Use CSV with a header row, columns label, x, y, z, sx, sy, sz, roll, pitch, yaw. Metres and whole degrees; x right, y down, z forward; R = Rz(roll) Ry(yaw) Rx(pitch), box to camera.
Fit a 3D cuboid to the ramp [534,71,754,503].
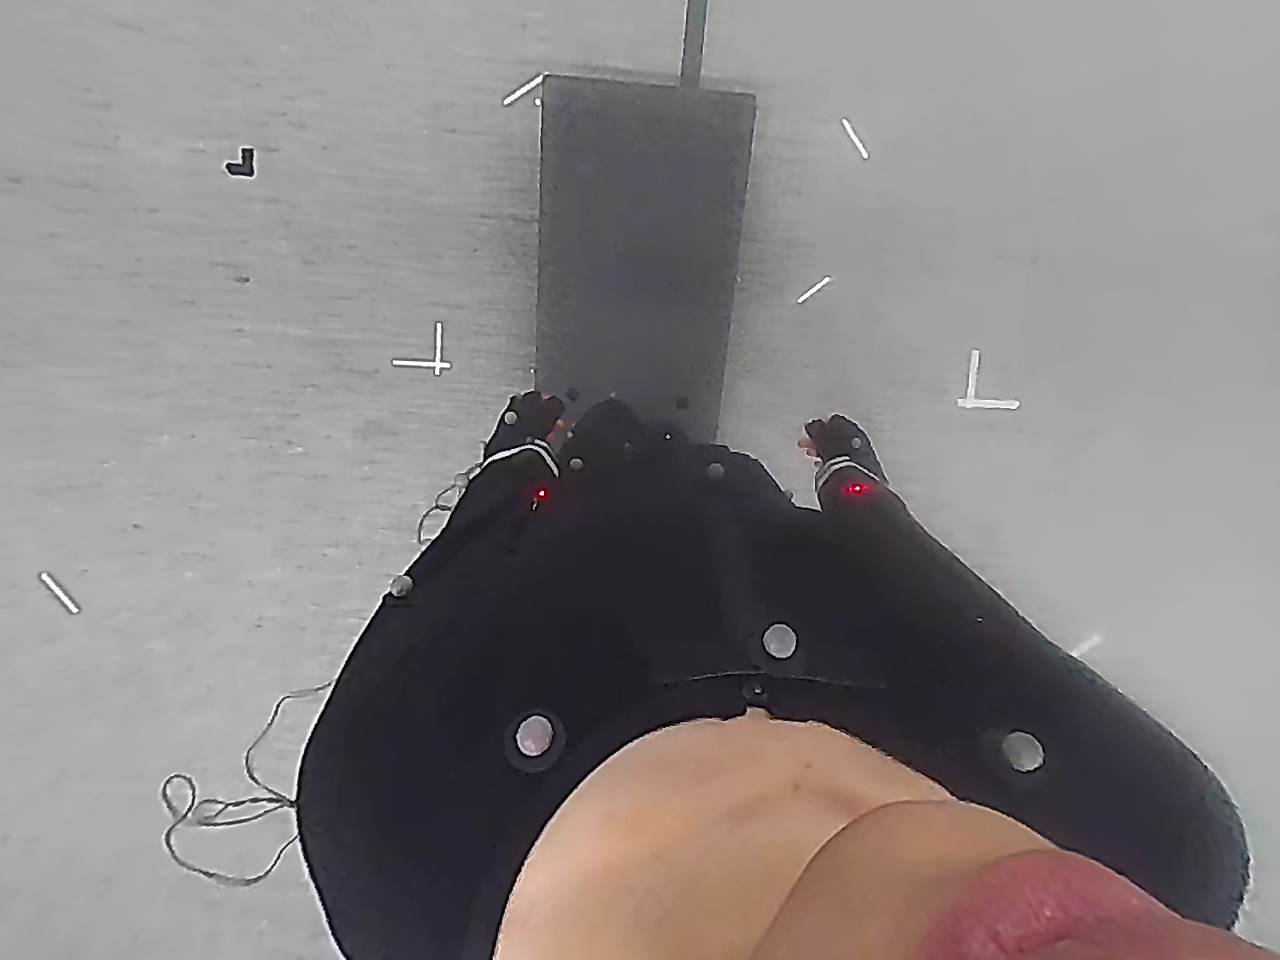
label,x,y,z,sx,sy,sz,roll,pitch,yaw
ramp,-0.014,-0.426,1.362,0.509,0.206,0.991,2,97,-3
